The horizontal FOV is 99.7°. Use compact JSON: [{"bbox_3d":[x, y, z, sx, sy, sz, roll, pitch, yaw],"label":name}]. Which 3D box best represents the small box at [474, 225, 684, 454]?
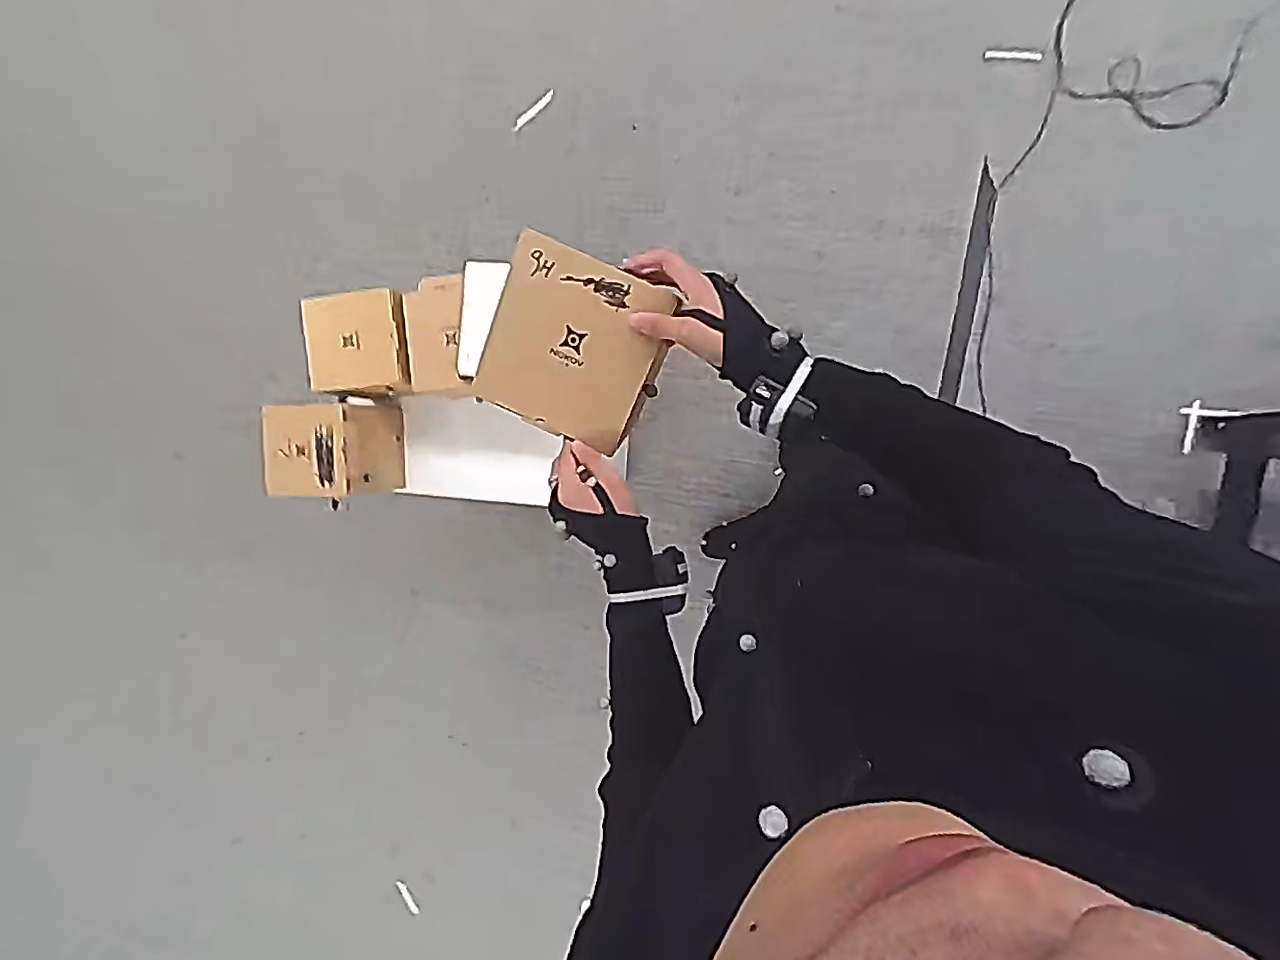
[{"bbox_3d":[-0.056,-0.156,0.615,0.168,0.176,0.179,26,107,0],"label":"small box"}]
